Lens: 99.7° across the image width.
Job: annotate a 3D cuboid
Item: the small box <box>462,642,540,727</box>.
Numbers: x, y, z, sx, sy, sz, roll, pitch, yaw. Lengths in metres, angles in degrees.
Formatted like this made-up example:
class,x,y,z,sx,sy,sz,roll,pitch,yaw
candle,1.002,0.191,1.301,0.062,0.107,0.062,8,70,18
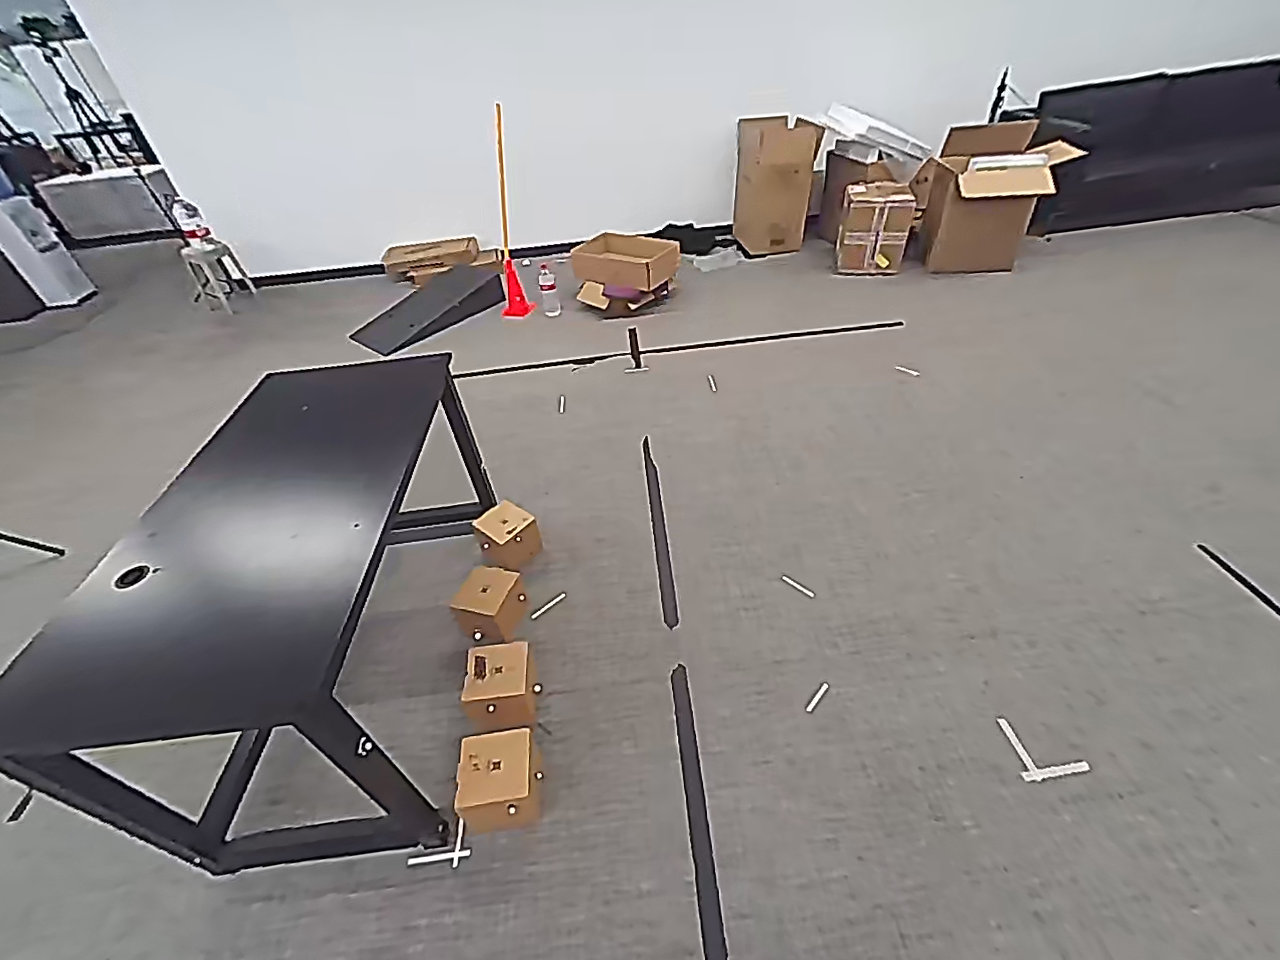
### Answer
class,x,y,z,sx,sy,sz,roll,pitch,yaw
small box,-0.397,0.599,1.575,0.179,0.176,0.168,-6,41,-2

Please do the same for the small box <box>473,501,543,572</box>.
class,x,y,z,sx,sy,sz,roll,pitch,yaw
small box,-0.490,0.215,2.023,0.179,0.176,0.168,25,50,31

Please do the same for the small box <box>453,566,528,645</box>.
class,x,y,z,sx,sy,sz,roll,pitch,yaw
small box,-0.487,0.416,1.797,0.168,0.176,0.179,7,44,16
